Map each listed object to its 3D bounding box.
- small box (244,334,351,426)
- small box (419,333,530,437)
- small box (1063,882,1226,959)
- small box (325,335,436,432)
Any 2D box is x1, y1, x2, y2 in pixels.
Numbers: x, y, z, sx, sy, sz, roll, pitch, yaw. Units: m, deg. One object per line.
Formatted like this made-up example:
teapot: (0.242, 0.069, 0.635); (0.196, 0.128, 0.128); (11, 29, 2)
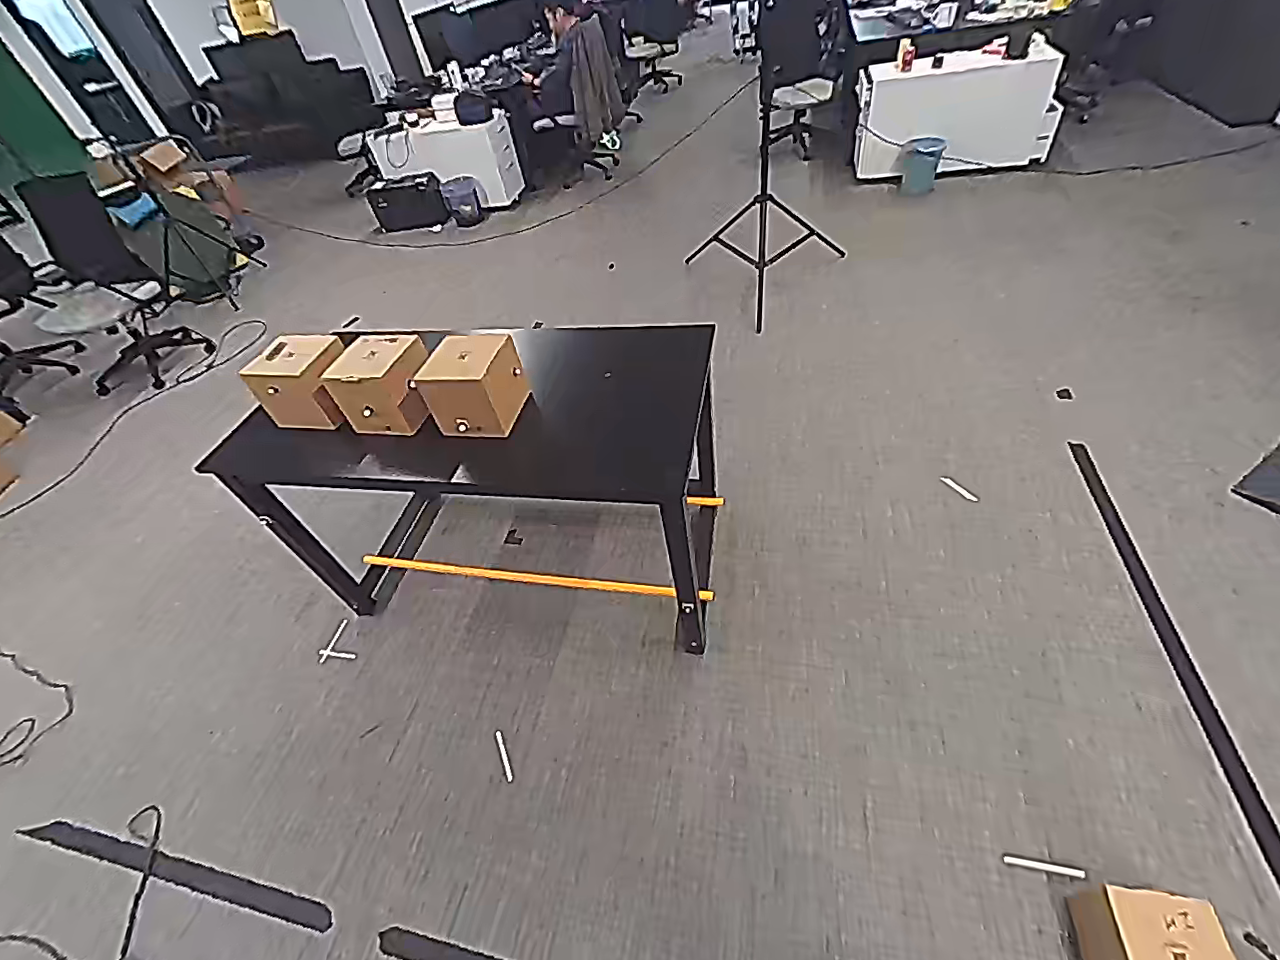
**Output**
small box: (-0.827, -0.251, 1.364); (0.179, 0.176, 0.168); (4, 48, 13)
small box: (-0.371, -0.220, 1.253); (0.168, 0.176, 0.179); (2, 48, 14)
small box: (0.923, 0.867, 0.987); (0.168, 0.176, 0.179); (2, 47, 13)
small box: (-0.604, -0.232, 1.306); (0.168, 0.176, 0.179); (4, 48, 13)
